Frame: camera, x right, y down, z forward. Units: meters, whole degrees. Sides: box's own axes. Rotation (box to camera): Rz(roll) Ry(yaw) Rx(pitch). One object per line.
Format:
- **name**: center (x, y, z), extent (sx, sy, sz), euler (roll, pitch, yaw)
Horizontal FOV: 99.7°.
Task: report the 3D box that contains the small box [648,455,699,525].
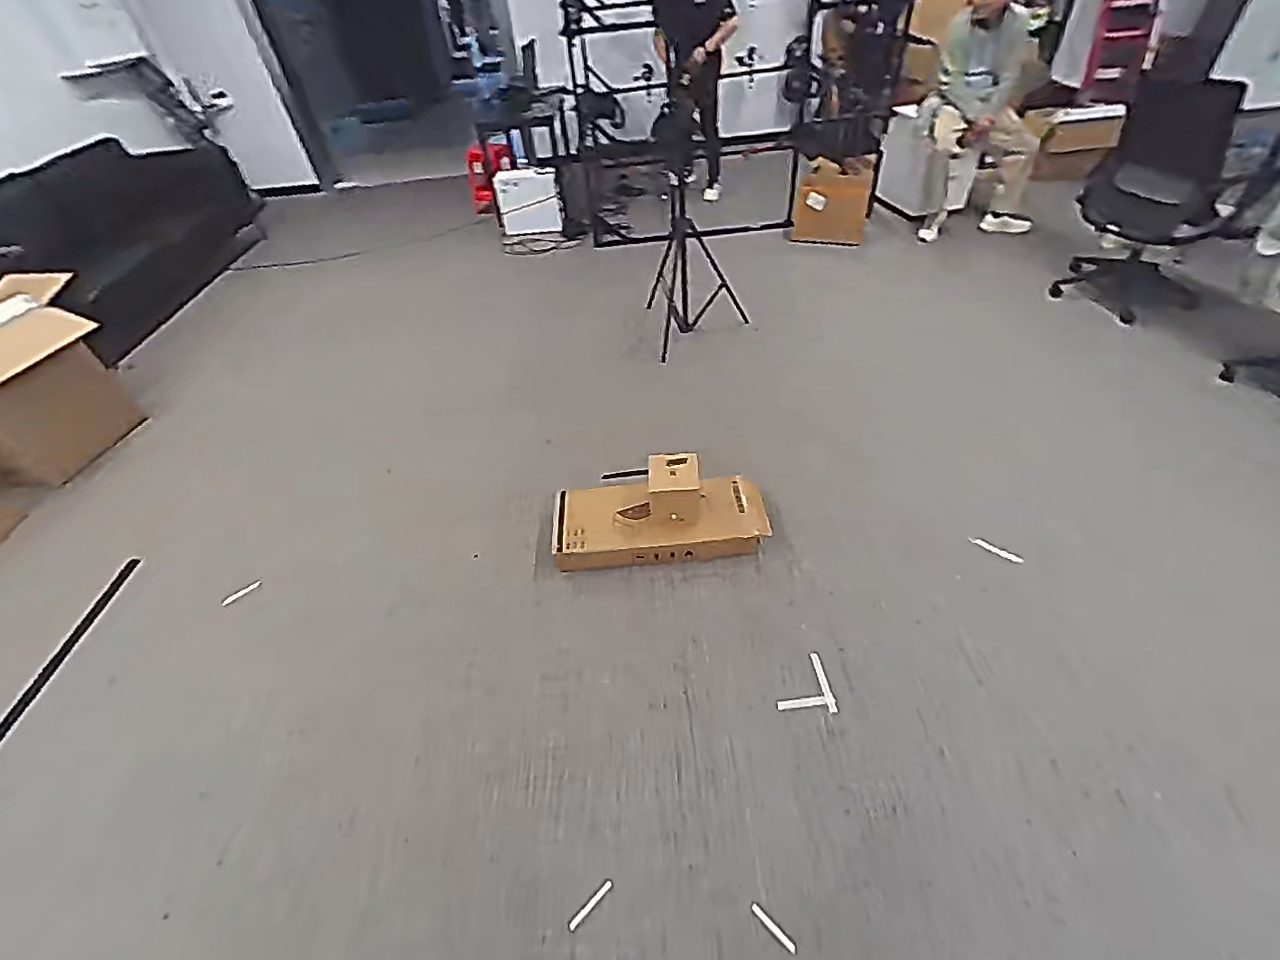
- **small box**: center (0.114, 0.035, 1.859), extent (0.168, 0.176, 0.179), euler (-4, 44, 4)
